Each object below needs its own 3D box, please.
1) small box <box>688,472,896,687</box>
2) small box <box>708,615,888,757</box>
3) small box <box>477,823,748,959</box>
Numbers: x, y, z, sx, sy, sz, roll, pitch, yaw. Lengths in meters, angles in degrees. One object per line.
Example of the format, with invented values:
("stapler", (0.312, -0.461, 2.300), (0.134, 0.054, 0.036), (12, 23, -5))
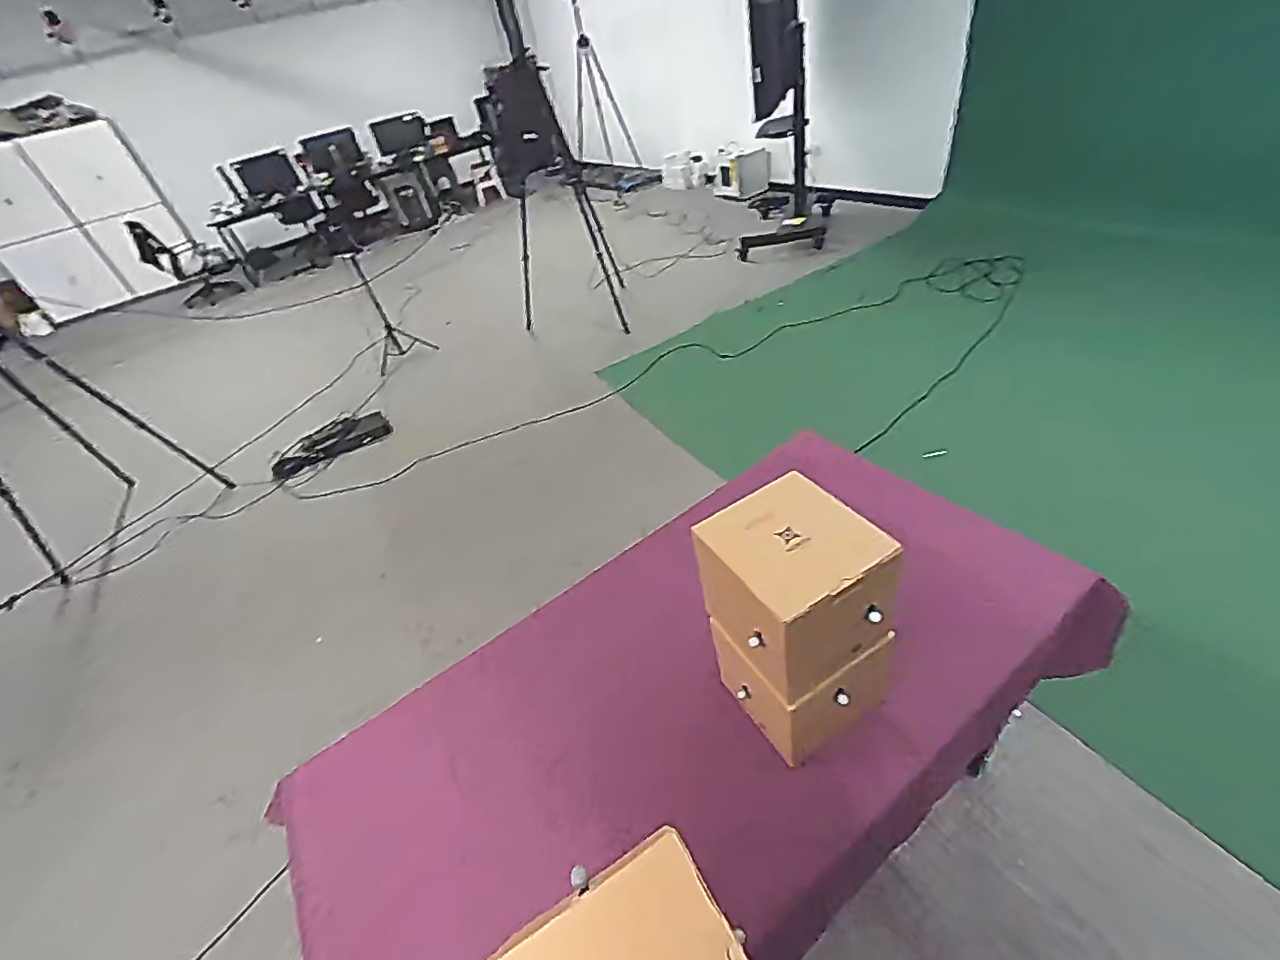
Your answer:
("small box", (0.184, 0.126, 0.671), (0.168, 0.176, 0.179), (-27, 40, -15))
("small box", (0.223, 0.252, 0.768), (0.179, 0.176, 0.168), (-28, 41, -15))
("small box", (-0.004, 0.399, 0.416), (0.179, 0.176, 0.168), (-27, 61, -15))
